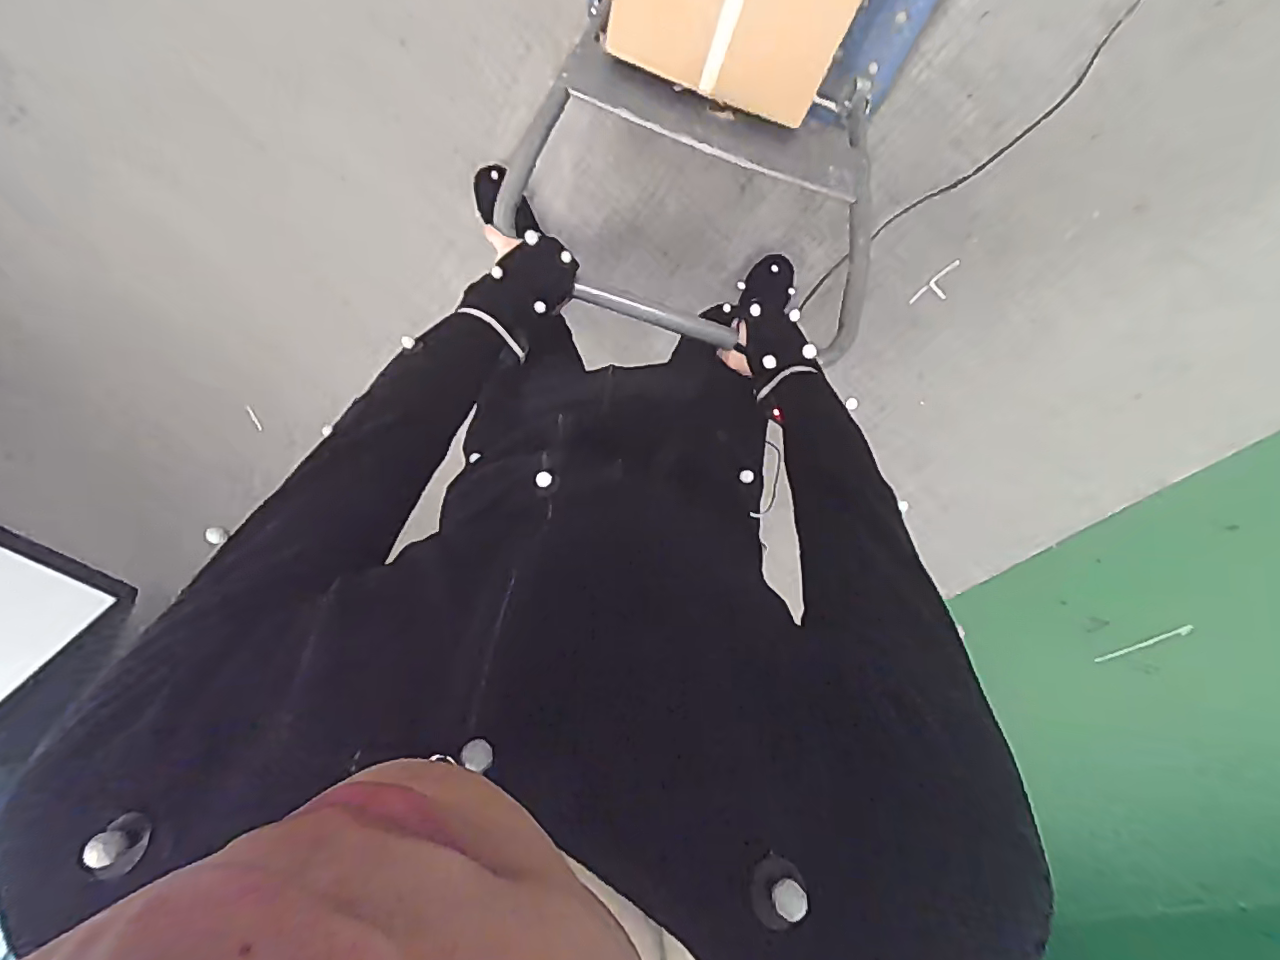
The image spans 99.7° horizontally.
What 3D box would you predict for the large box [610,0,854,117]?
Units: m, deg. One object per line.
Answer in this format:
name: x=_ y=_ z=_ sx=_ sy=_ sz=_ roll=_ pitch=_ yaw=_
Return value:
large box: x=0.178 y=-0.821 z=0.737 sx=0.320 sy=0.320 sz=0.408 roll=18 pitch=145 yaw=-7
